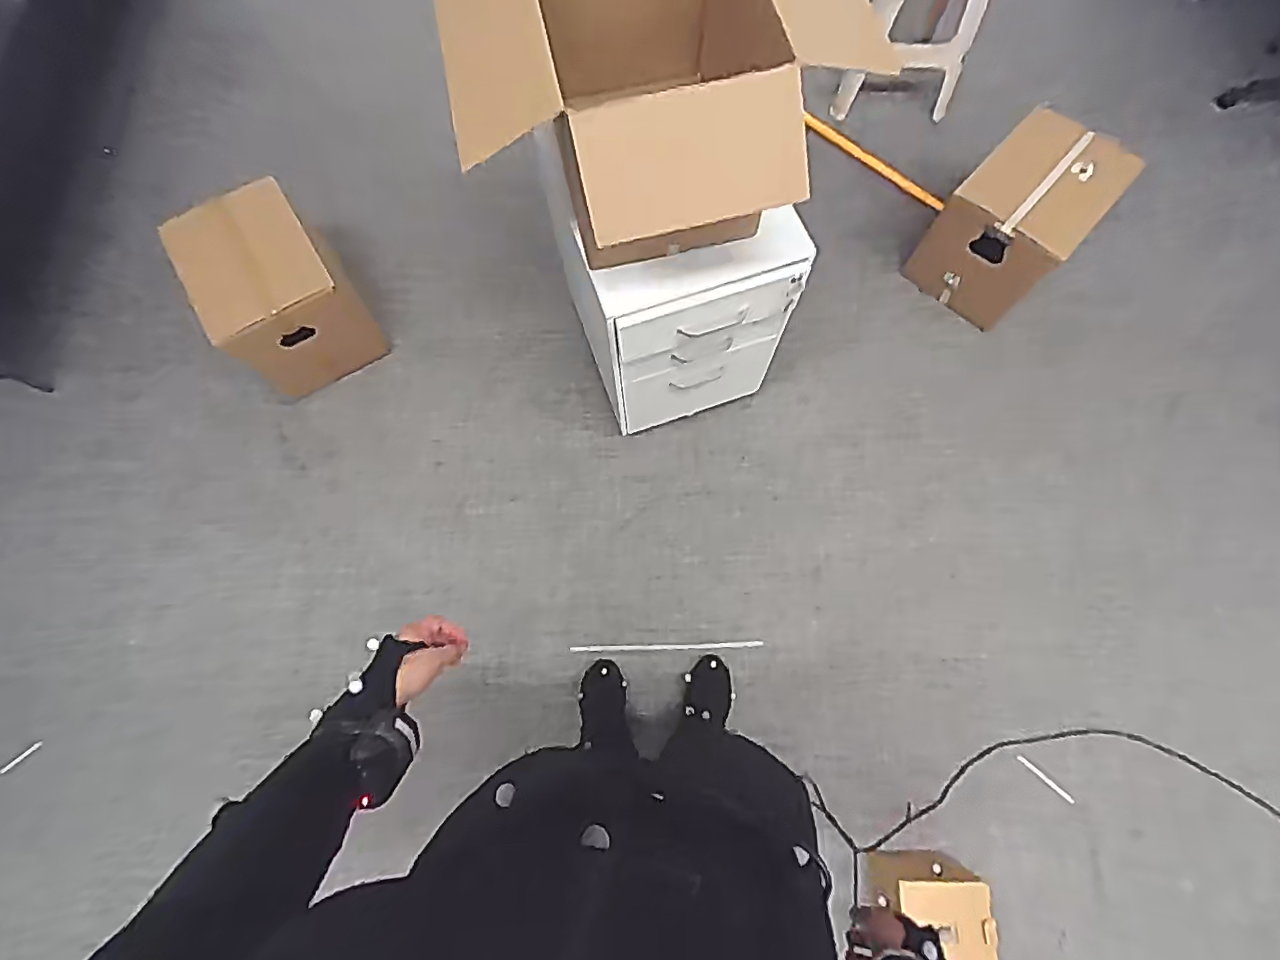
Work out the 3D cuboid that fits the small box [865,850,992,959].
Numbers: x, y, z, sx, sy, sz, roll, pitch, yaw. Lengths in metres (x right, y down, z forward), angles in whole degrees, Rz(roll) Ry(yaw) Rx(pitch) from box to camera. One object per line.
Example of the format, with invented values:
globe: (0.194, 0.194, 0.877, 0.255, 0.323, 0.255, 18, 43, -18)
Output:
small box: (0.574, 0.879, 1.103, 0.179, 0.176, 0.168, 1, 73, 0)
